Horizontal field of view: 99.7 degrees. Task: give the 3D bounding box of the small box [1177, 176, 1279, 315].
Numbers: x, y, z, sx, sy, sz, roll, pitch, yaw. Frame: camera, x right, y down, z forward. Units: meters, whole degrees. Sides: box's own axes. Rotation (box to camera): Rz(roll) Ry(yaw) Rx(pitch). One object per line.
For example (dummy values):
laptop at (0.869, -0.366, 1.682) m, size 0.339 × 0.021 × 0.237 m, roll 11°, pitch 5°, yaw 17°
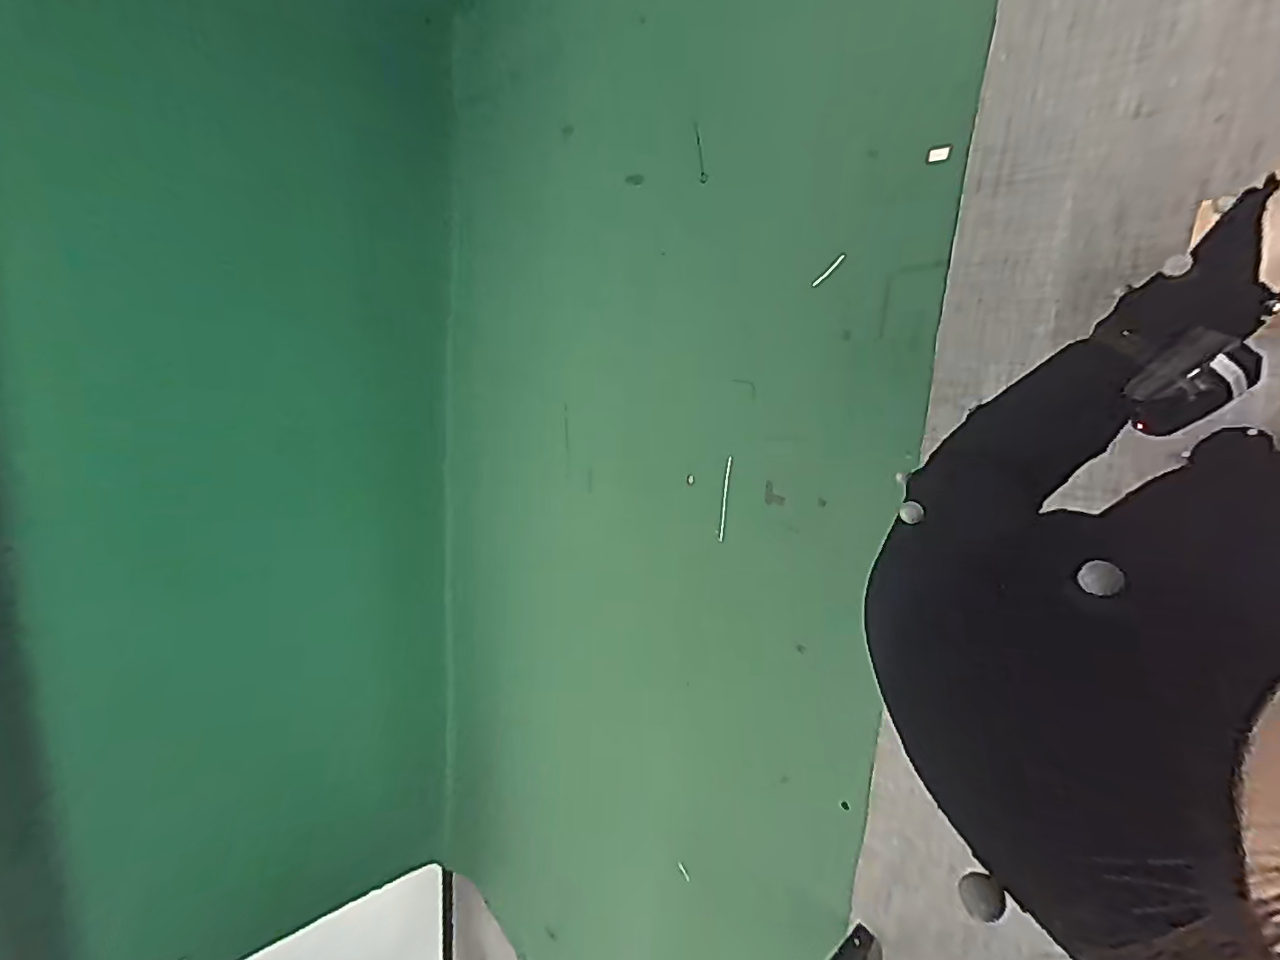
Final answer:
small box at (0.976, -0.358, 0.840) m, size 0.168 × 0.176 × 0.179 m, roll 17°, pitch 108°, yaw 48°
